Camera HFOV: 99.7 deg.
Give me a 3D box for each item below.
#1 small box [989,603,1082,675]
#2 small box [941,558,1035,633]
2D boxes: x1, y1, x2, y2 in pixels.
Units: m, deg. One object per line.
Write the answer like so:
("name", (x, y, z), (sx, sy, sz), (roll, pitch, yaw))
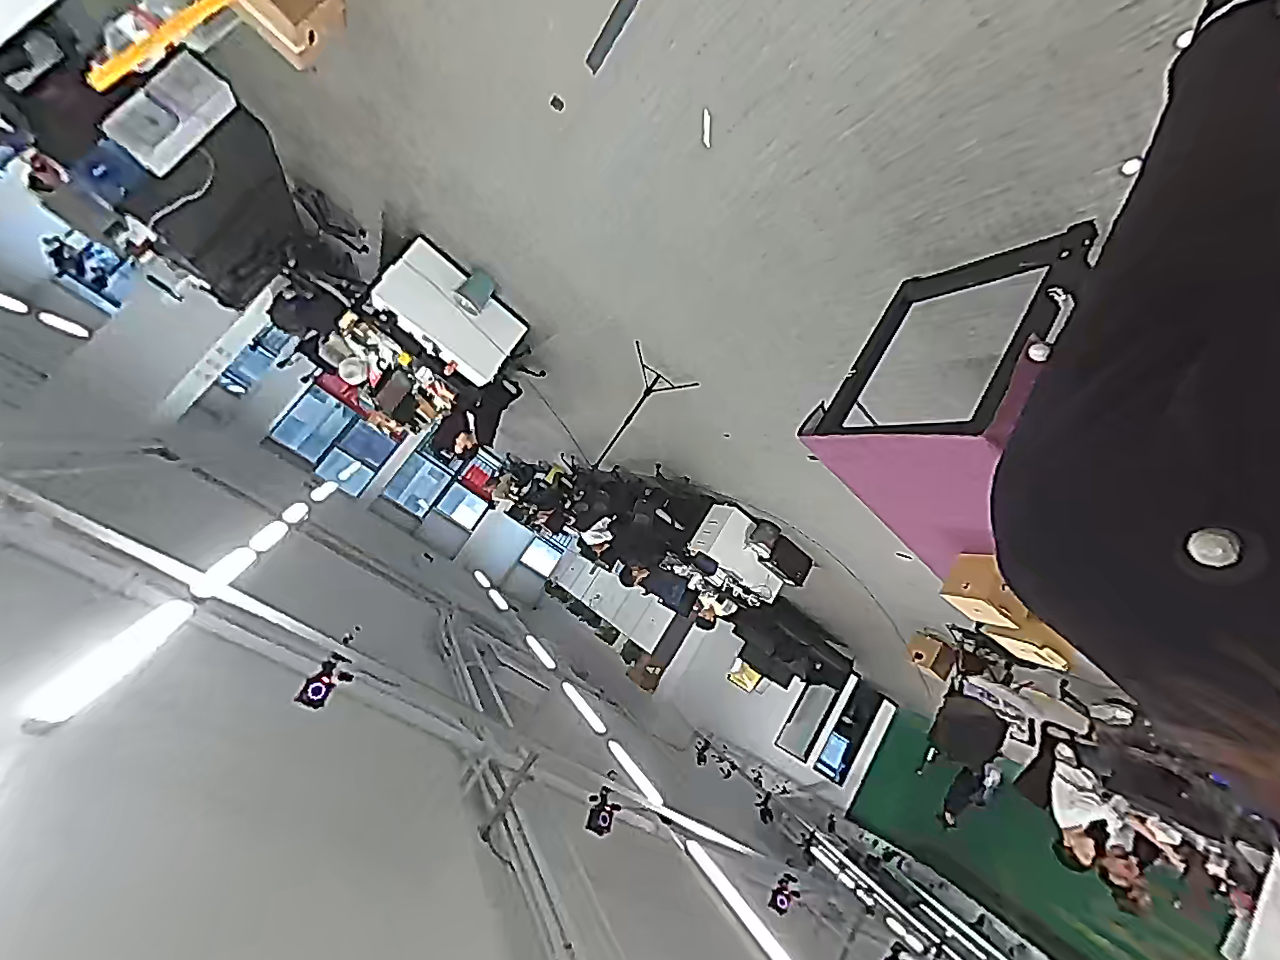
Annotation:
("small box", (1.318, 0.512, 1.793), (0.168, 0.176, 0.179), (37, 168, -11))
("small box", (1.123, 0.363, 1.735), (0.168, 0.176, 0.179), (37, 168, -10))
